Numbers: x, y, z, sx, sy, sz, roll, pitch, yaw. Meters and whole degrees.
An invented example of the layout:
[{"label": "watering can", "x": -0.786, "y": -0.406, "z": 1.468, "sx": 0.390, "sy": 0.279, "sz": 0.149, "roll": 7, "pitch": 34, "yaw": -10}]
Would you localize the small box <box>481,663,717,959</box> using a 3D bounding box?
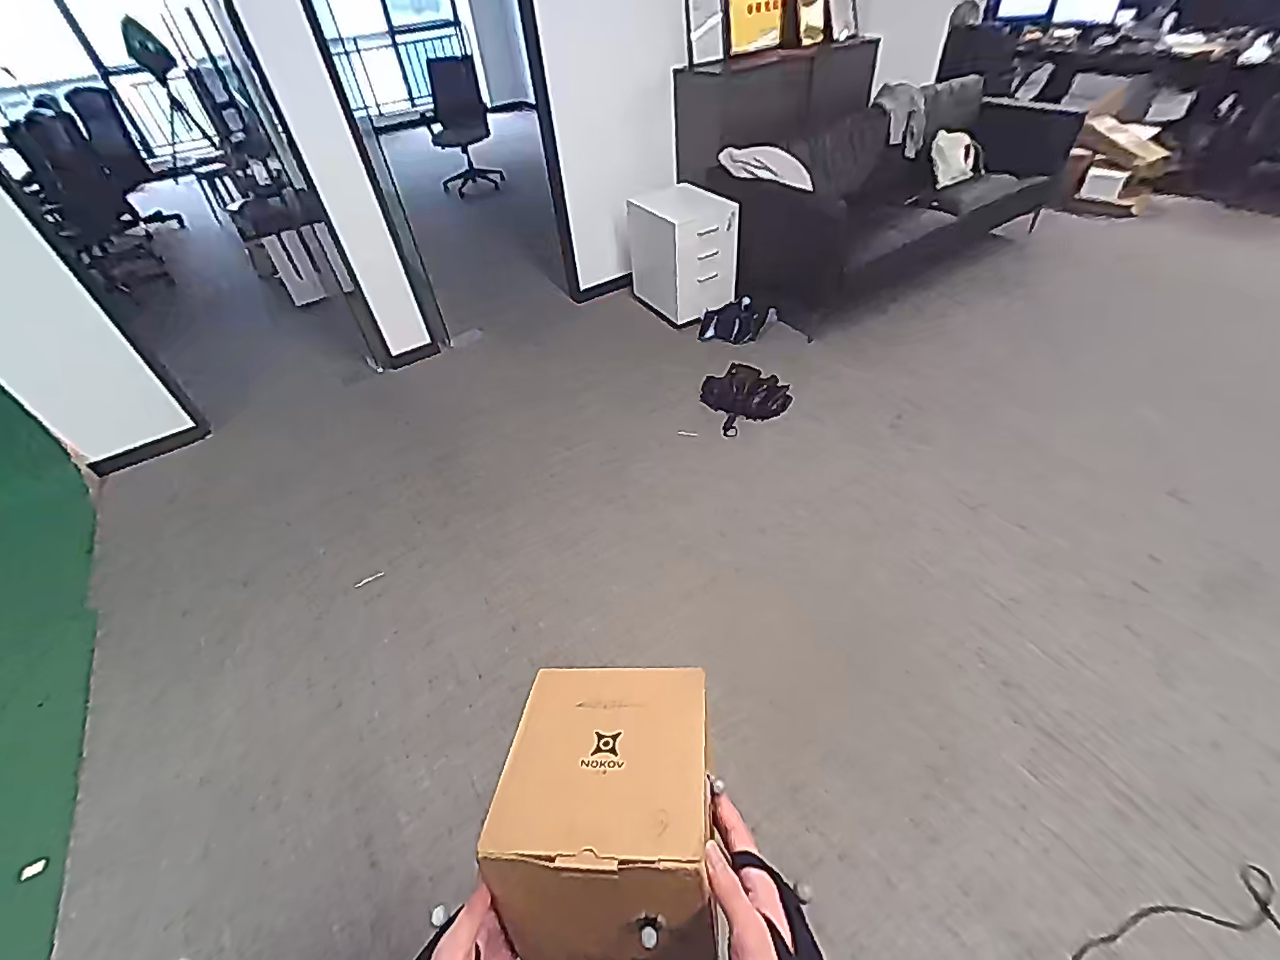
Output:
[{"label": "small box", "x": -0.018, "y": 0.290, "z": 0.485, "sx": 0.168, "sy": 0.176, "sz": 0.179, "roll": -2, "pitch": 26, "yaw": 8}]
